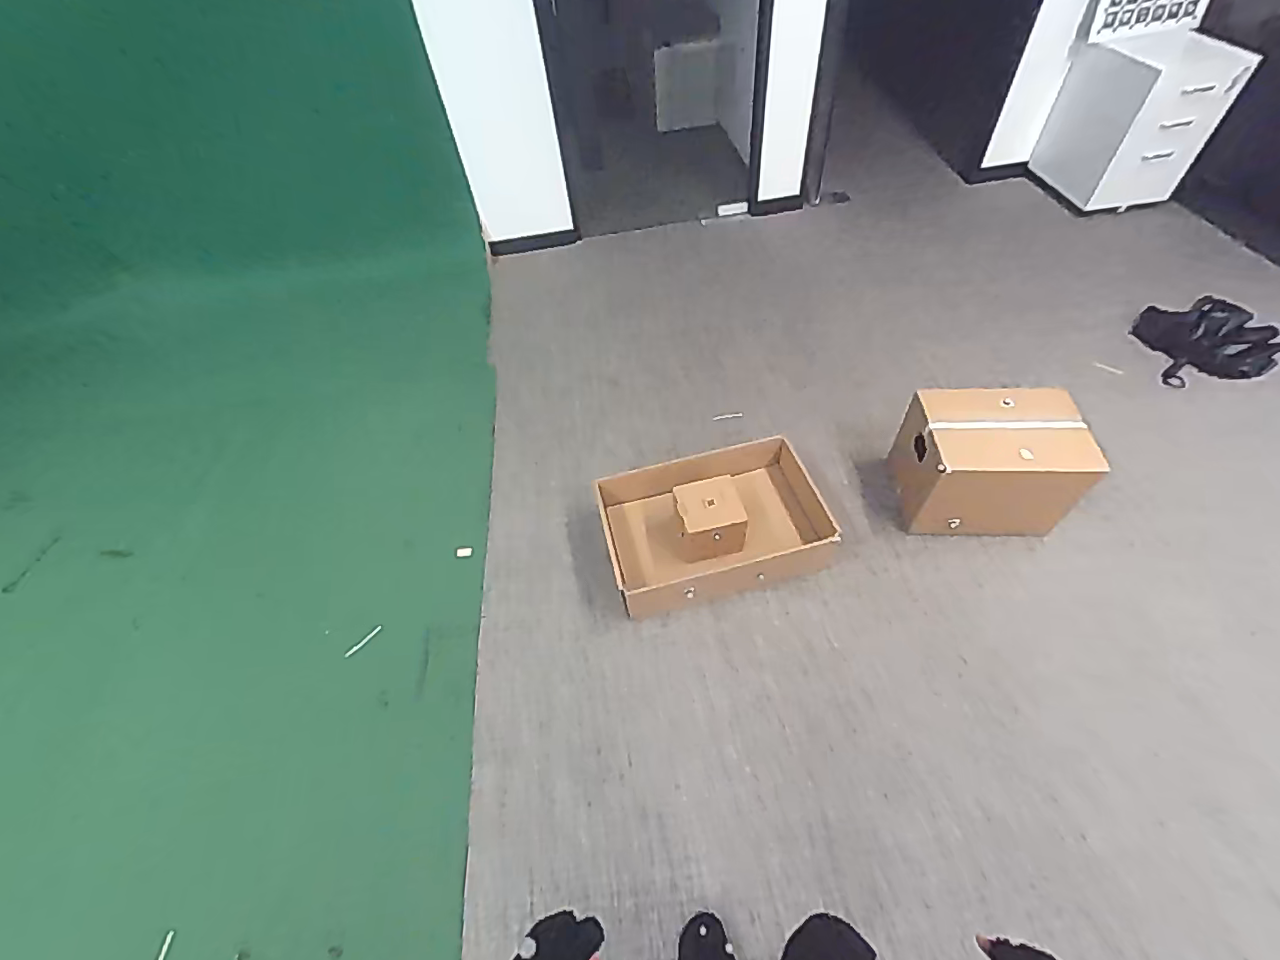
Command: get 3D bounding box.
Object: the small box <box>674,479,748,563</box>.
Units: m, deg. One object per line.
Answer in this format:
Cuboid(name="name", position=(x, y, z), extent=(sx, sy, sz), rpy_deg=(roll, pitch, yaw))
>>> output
Cuboid(name="small box", position=(0.203, 0.124, 1.584), extent=(0.179, 0.176, 0.168), rpy_deg=(-12, 52, -5))
